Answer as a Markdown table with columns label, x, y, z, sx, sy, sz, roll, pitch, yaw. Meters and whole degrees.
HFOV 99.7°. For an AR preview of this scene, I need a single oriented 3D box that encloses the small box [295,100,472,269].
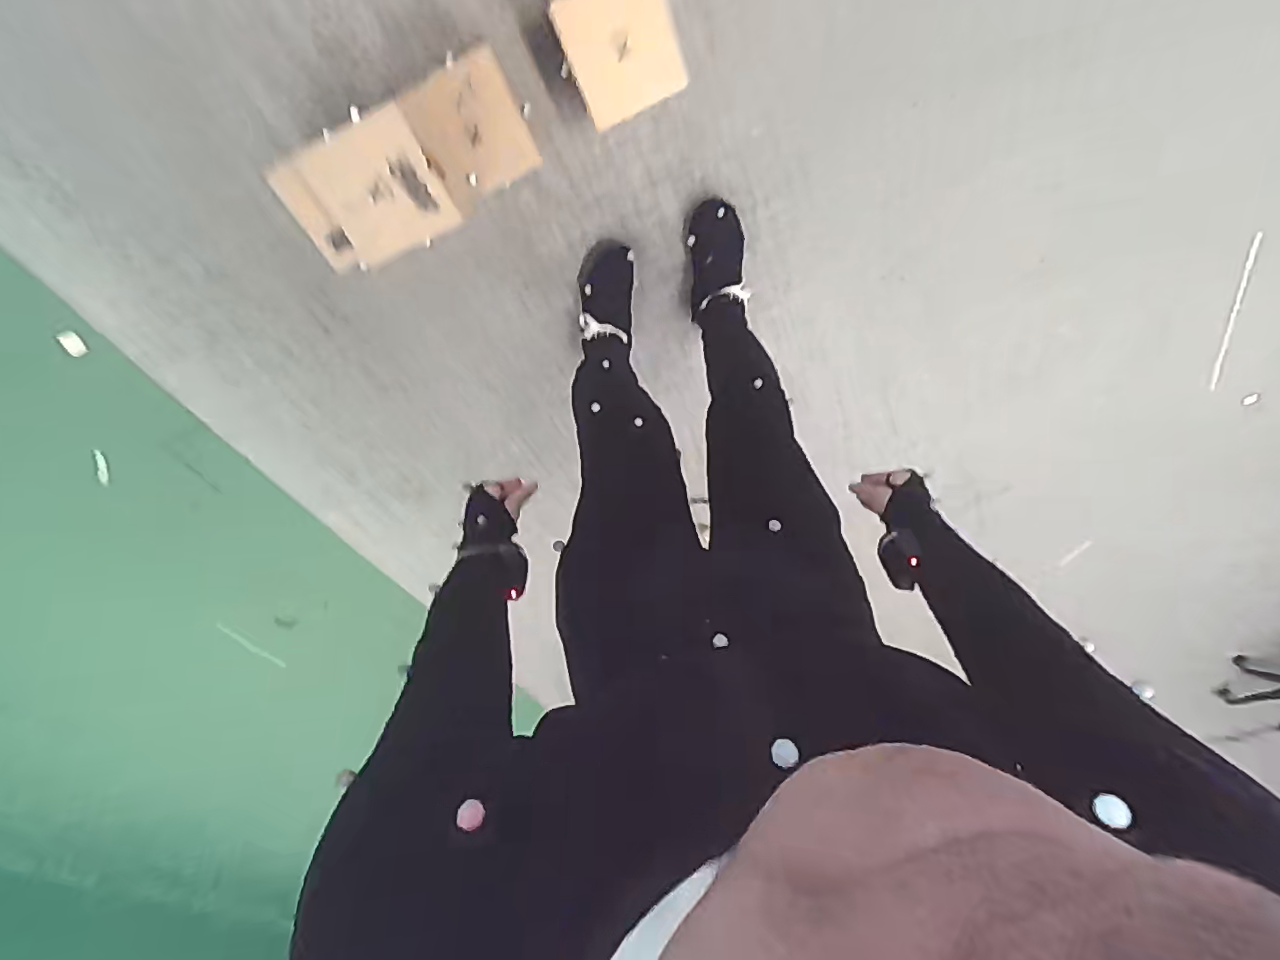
| label | x | y | z | sx | sy | sz | roll | pitch | yaw |
| --- | --- | --- | --- | --- | --- | --- | --- | --- | --- |
| small box | -0.382 | -0.466 | 0.847 | 0.179 | 0.176 | 0.168 | -21 | 128 | 9 |

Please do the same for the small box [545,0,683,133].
| label | x | y | z | sx | sy | sz | roll | pitch | yaw |
| --- | --- | --- | --- | --- | --- | --- | --- | --- | --- |
| small box | -0.040 | -0.719 | 0.899 | 0.168 | 0.176 | 0.179 | -22 | 128 | 11 |
